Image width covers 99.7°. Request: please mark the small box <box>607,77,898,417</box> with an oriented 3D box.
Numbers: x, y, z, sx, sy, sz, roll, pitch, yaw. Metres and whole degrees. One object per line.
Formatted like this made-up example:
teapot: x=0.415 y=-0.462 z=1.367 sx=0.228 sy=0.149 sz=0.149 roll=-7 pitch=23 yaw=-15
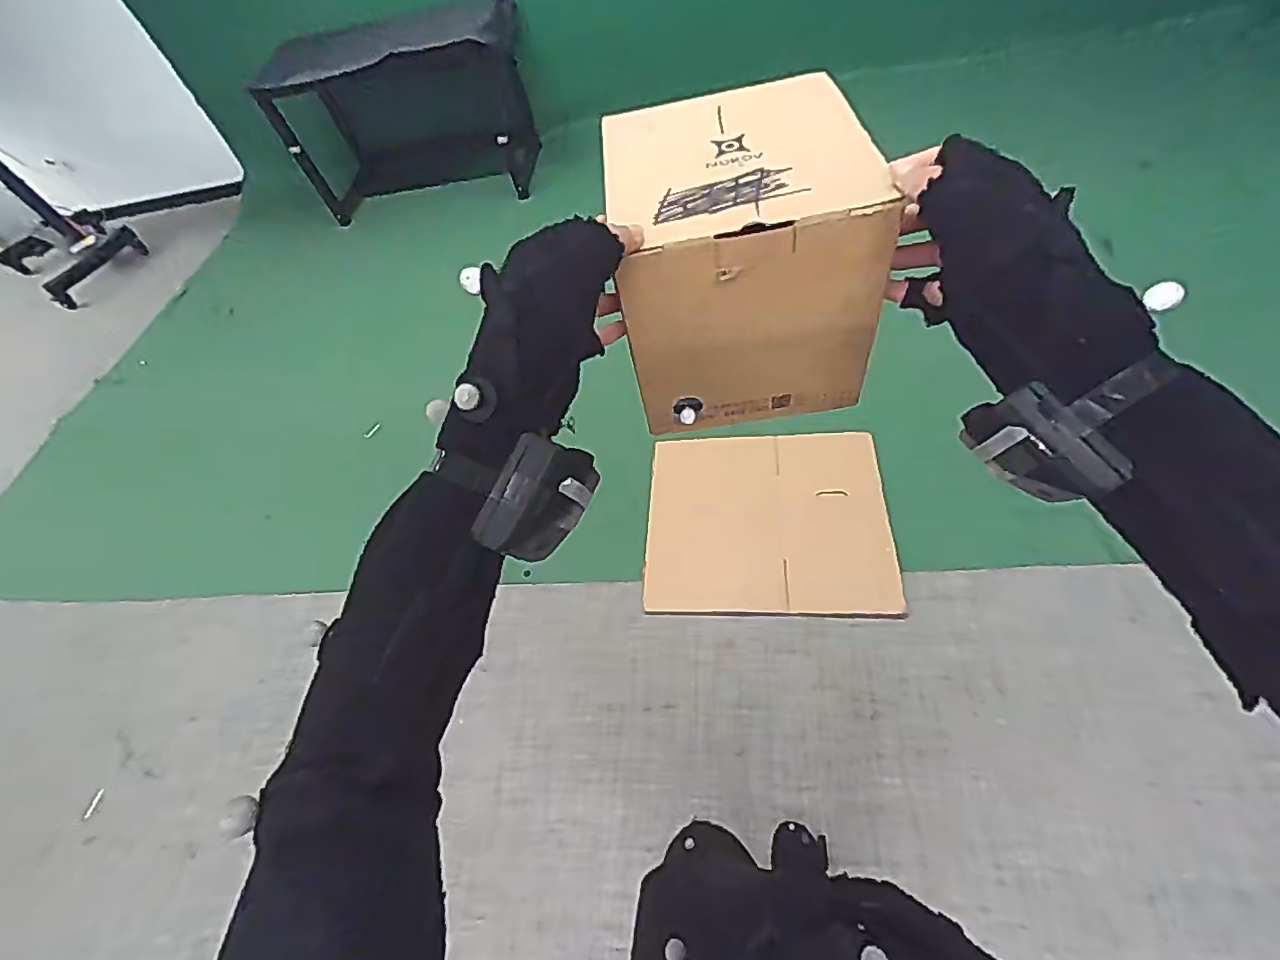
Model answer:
small box: x=0.073 y=-0.164 z=0.416 sx=0.168 sy=0.176 sz=0.179 roll=-8 pitch=54 yaw=6
